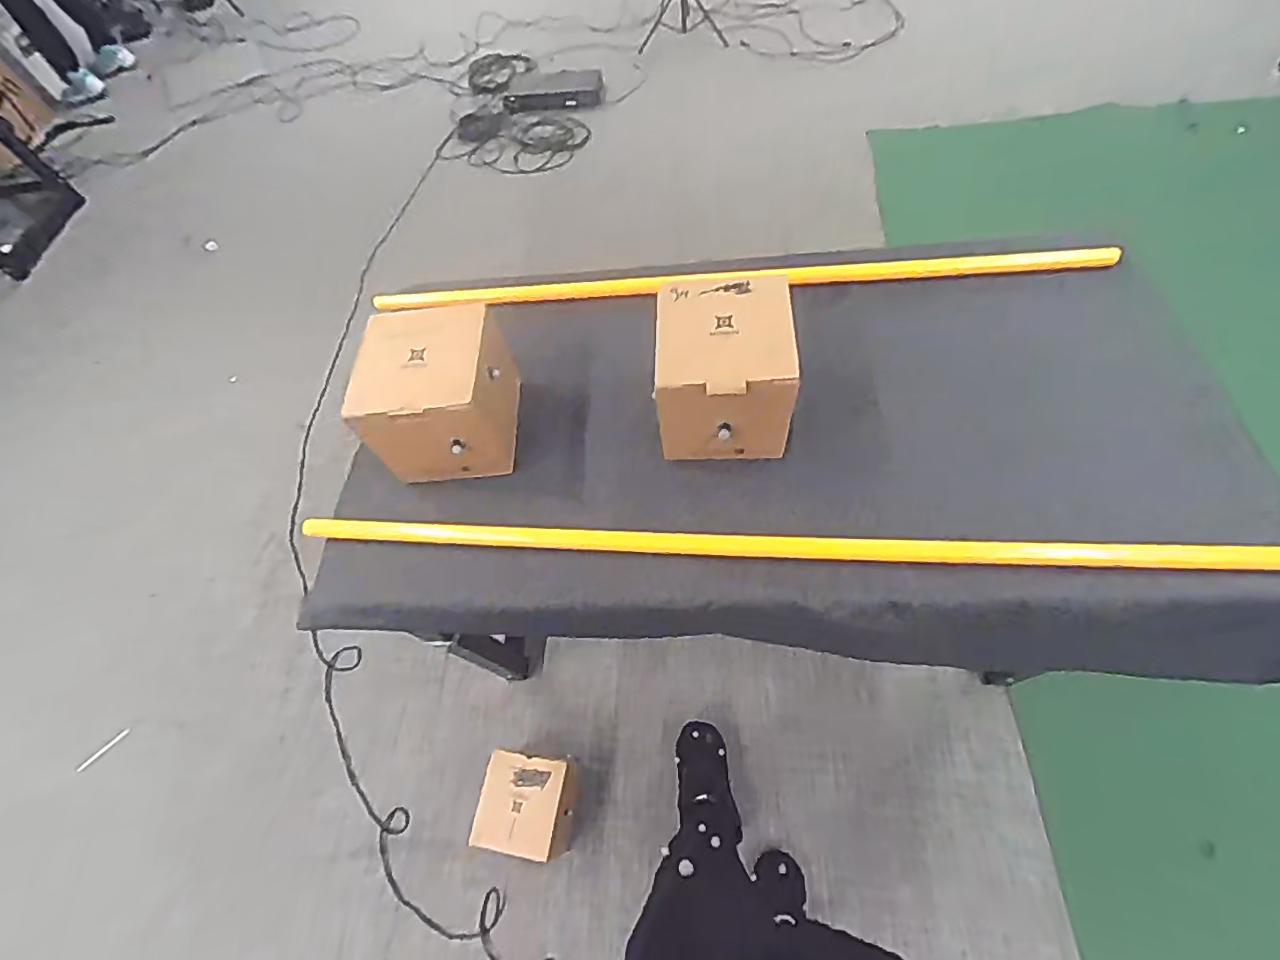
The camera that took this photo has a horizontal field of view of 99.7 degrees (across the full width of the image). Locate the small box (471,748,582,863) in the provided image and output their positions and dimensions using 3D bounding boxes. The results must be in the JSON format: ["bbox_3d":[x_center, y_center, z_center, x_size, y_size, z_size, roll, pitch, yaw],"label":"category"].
[{"bbox_3d":[-0.230,0.685,1.152,0.168,0.176,0.179,6,63,11],"label":"small box"}]

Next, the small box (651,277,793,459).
[{"bbox_3d":[0.107,-0.139,0.728,0.168,0.176,0.179,-4,60,7],"label":"small box"}]

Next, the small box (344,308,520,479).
[{"bbox_3d":[-0.276,-0.112,0.763,0.168,0.176,0.179,-5,59,3],"label":"small box"}]
